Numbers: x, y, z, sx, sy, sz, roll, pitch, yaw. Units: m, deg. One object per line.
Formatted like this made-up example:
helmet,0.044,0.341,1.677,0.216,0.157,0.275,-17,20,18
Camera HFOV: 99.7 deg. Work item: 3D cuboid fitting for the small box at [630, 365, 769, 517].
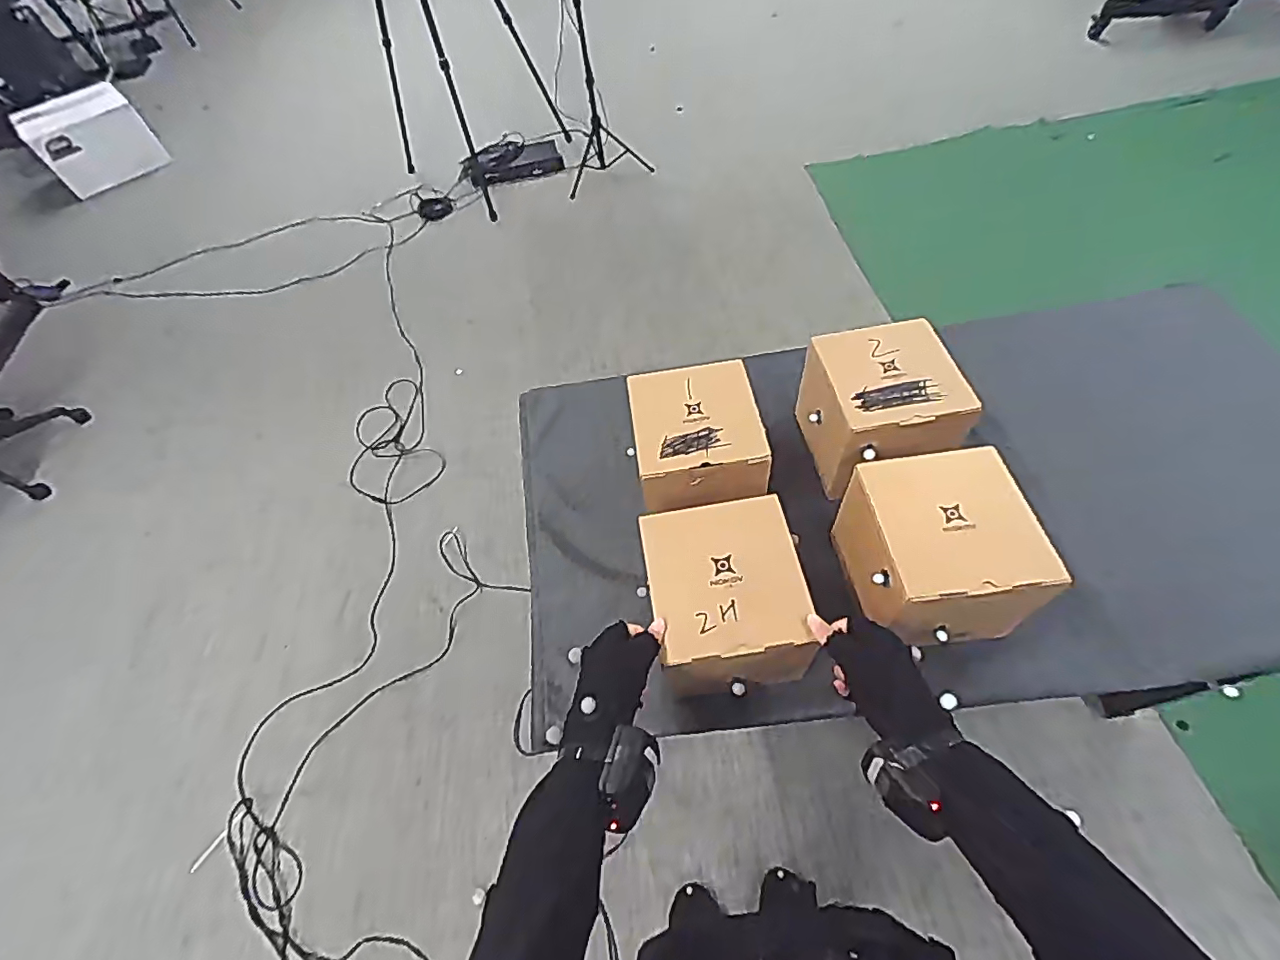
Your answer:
small box,0.083,-0.035,0.783,0.168,0.176,0.179,-8,55,1

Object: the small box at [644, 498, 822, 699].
small box,0.100,0.148,0.656,0.168,0.176,0.179,-10,56,1
